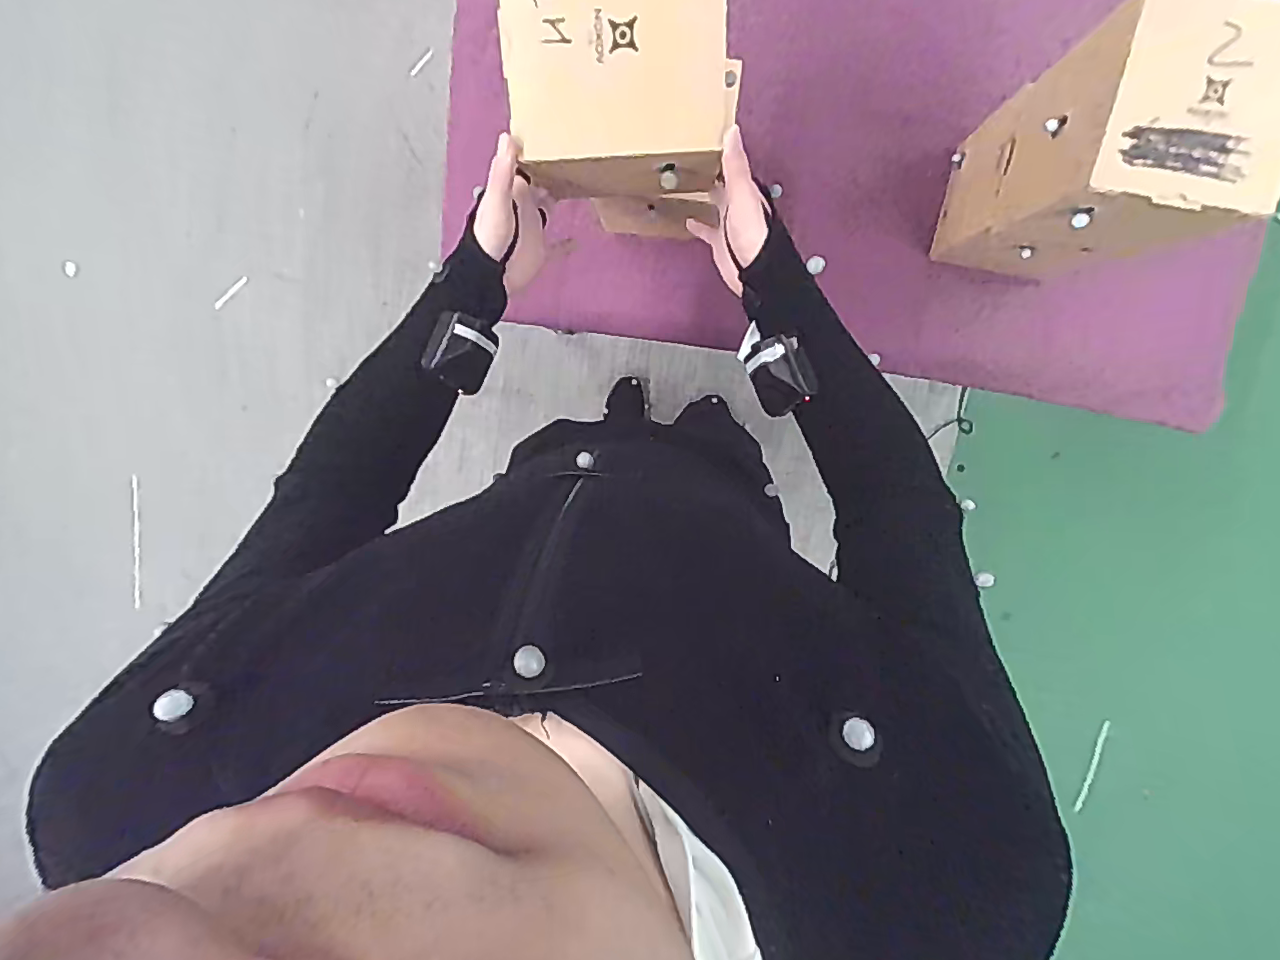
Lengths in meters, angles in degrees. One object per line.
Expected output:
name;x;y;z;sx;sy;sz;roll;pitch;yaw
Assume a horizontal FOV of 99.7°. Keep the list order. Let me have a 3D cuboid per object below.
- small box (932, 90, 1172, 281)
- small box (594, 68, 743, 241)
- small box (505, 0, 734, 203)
small box;0.530;-0.379;0.728;0.179;0.176;0.168;11;100;2
small box;0.037;-0.445;0.754;0.179;0.176;0.168;7;100;4
small box;-0.012;-0.359;0.492;0.179;0.176;0.168;-1;107;4
